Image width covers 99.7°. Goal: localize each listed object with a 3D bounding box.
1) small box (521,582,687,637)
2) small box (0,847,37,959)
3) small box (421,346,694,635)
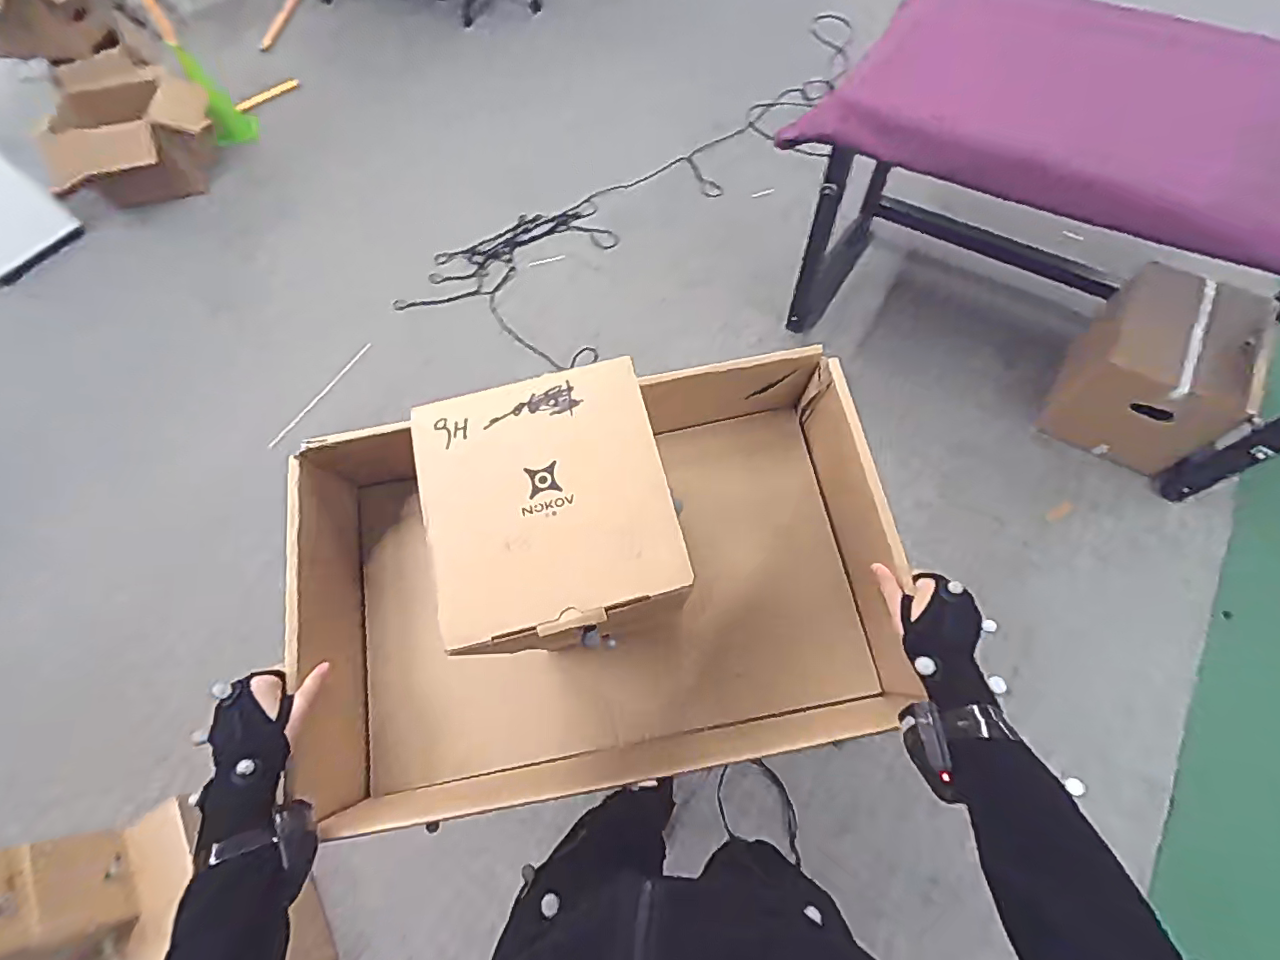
[{"bbox_3d":[-0.048,0.070,0.601,0.168,0.176,0.179,-11,73,-1],"label":"small box"},{"bbox_3d":[-1.023,0.656,0.750,0.179,0.176,0.168,-37,68,-13],"label":"small box"},{"bbox_3d":[-0.058,0.022,0.444,0.168,0.176,0.179,-13,73,-3],"label":"small box"}]
